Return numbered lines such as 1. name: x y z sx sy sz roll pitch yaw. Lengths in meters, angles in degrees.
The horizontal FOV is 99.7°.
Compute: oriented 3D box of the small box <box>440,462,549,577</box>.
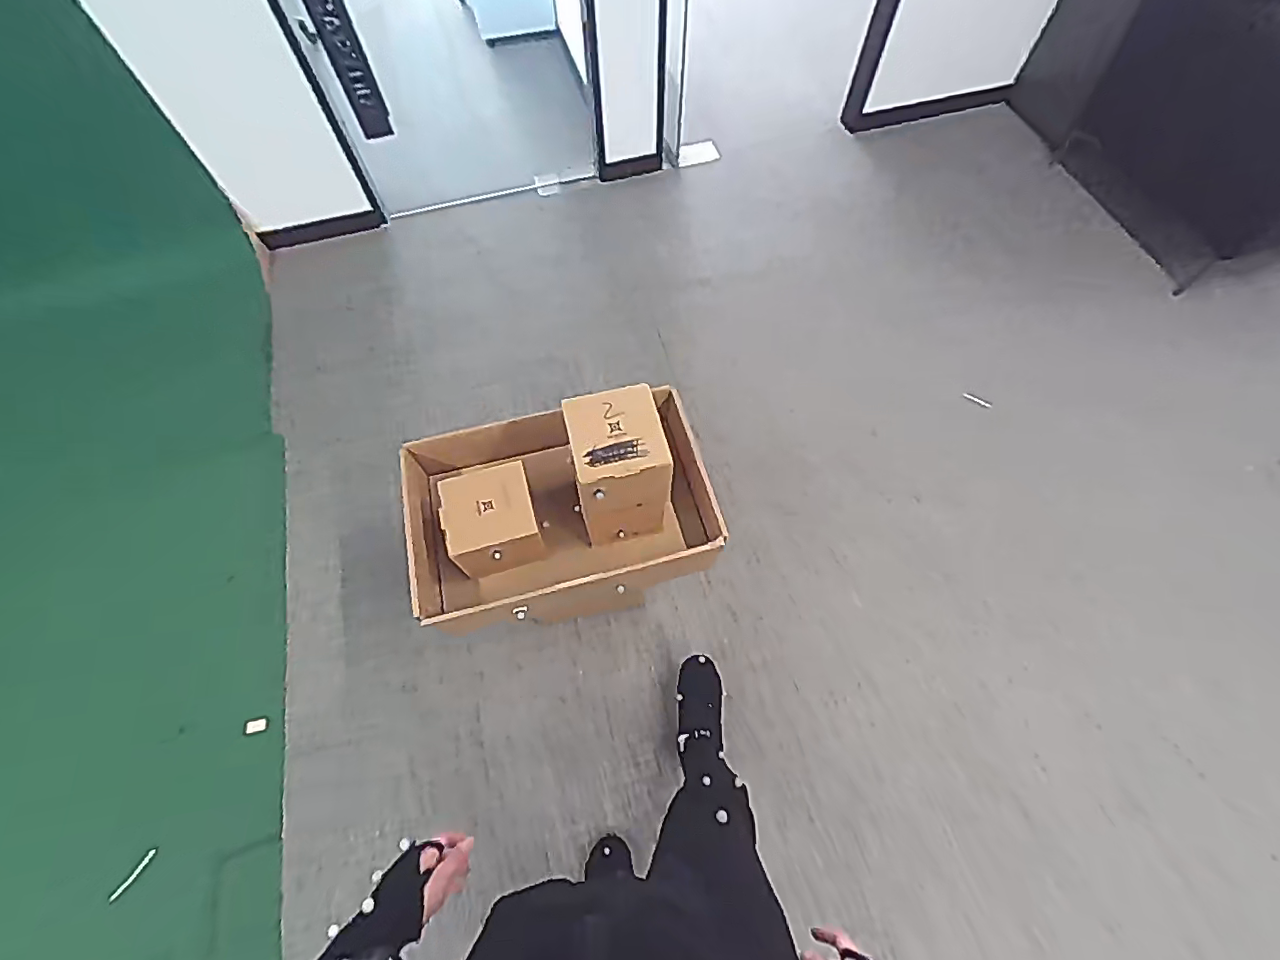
1. small box: -0.300 0.089 1.134 0.179 0.176 0.168 -14 65 -8
